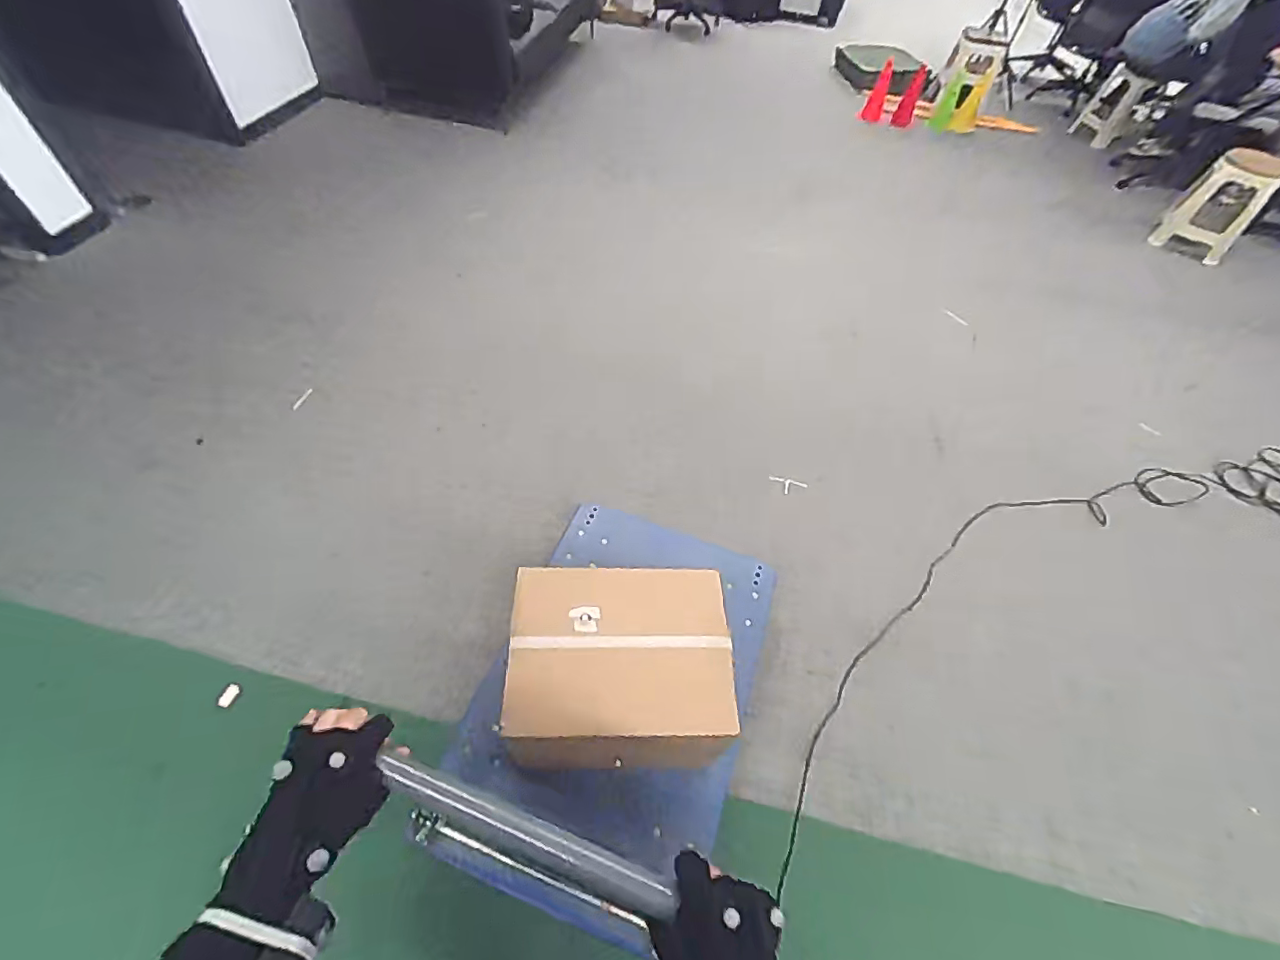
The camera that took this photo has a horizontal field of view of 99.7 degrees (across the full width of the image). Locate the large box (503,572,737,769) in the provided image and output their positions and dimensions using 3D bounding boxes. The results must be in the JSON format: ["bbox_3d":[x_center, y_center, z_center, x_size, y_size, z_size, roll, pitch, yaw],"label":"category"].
[{"bbox_3d":[-0.043,0.399,1.116,0.408,0.320,0.320,0,52,-3],"label":"large box"}]
